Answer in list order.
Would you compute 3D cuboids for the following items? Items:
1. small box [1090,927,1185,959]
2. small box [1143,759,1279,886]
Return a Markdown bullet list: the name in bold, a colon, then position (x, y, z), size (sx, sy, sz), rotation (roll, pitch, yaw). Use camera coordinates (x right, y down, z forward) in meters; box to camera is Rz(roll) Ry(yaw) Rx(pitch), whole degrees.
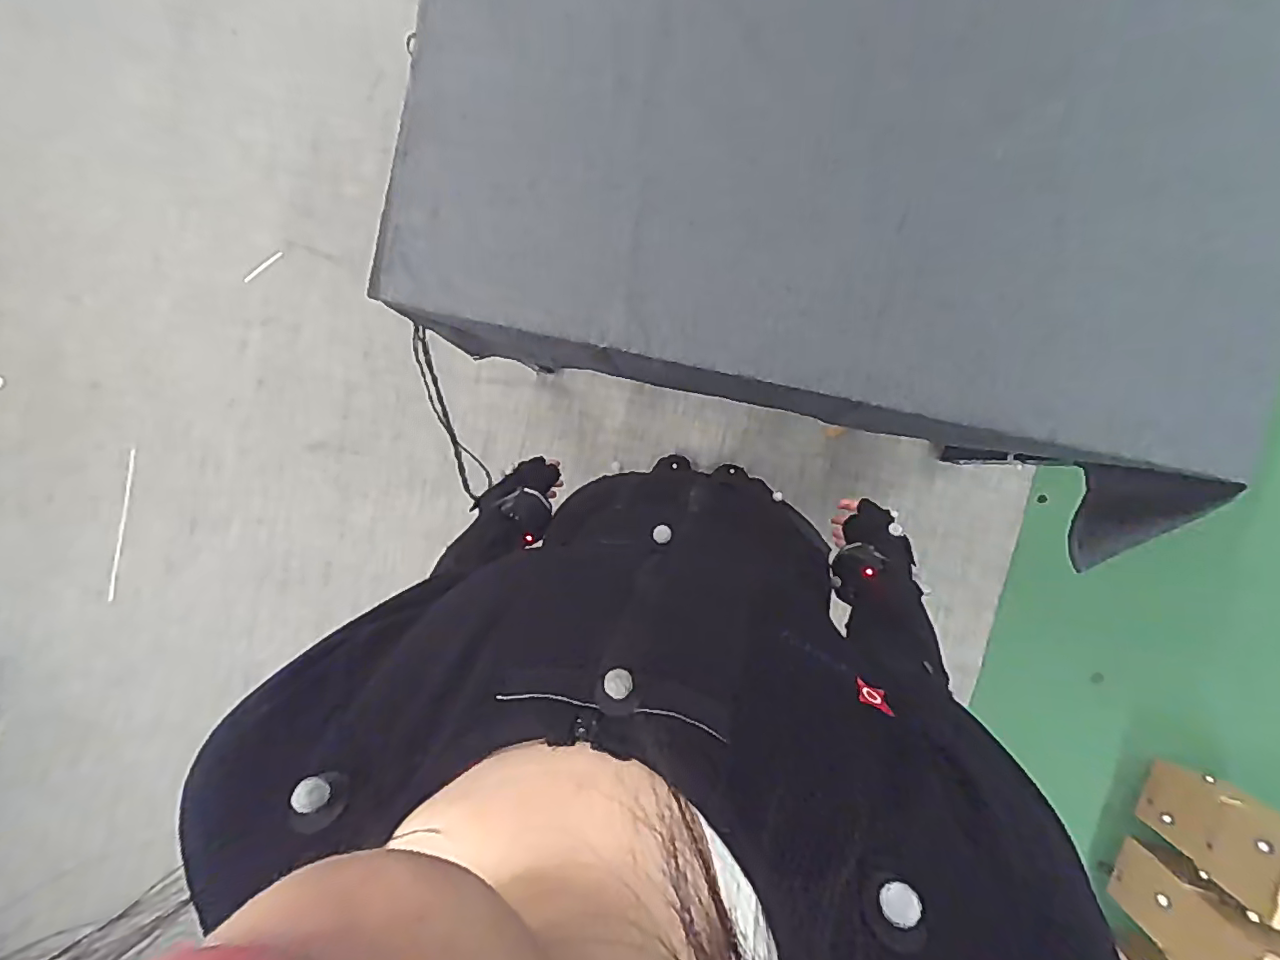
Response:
- **small box**: position (1.258, 1.253, 1.322), size (0.179, 0.176, 0.168), rotation (14, 94, 6)
- **small box**: position (1.377, 0.804, 1.292), size (0.179, 0.176, 0.168), rotation (18, 94, 5)
